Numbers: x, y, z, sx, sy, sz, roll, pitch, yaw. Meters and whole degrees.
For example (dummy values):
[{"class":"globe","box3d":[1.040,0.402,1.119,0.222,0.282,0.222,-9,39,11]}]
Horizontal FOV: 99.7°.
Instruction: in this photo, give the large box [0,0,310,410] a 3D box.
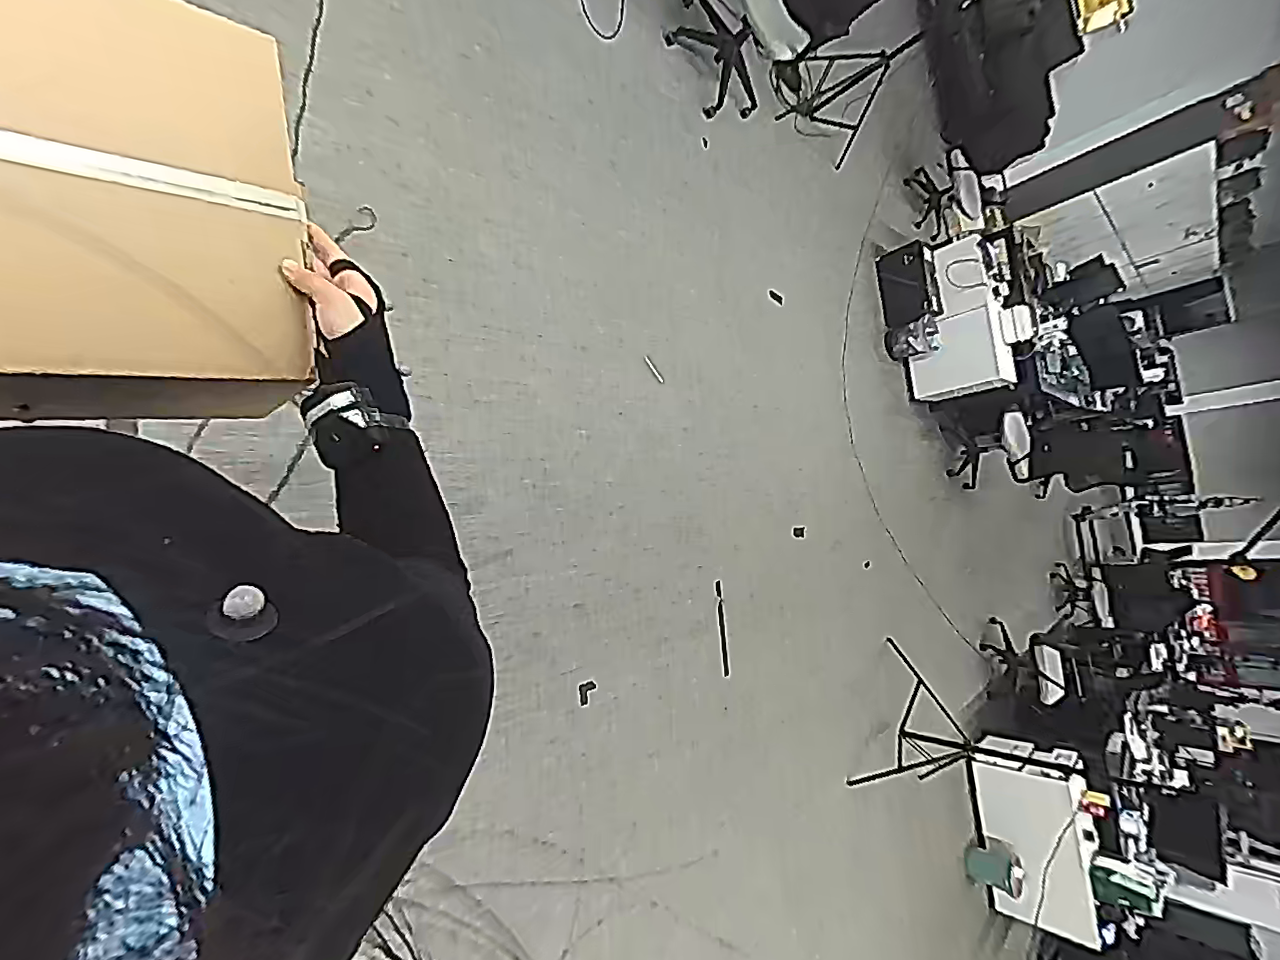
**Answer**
[{"class":"large box","box3d":[-0.572,-0.231,0.483,0.408,0.320,0.320,-8,93,-43]}]
